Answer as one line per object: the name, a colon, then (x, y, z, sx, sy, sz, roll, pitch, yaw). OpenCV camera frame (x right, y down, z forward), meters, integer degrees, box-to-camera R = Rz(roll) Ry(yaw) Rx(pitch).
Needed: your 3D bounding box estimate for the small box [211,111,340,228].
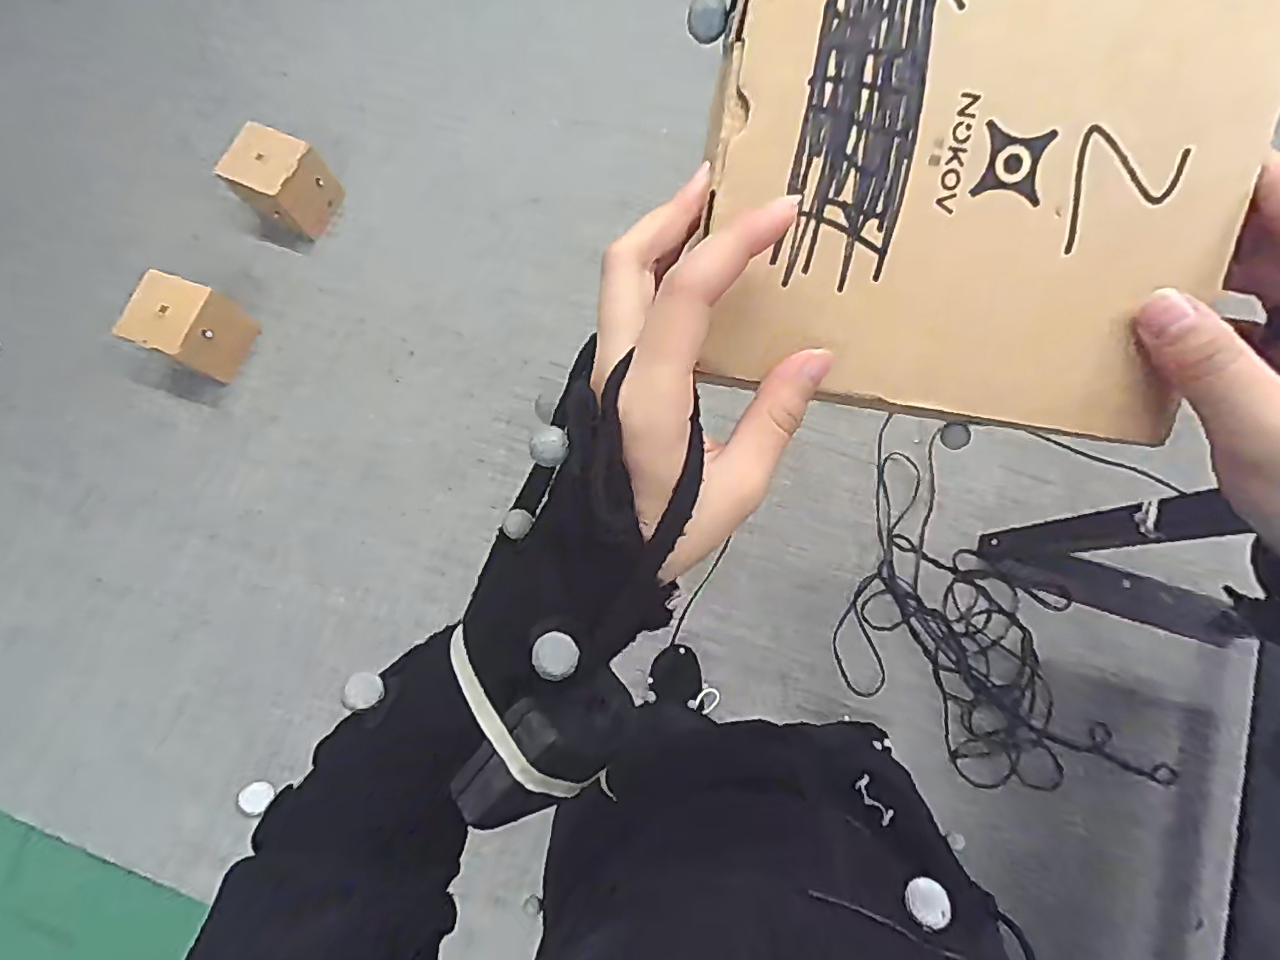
small box: (-0.904, -0.773, 1.364, 0.179, 0.176, 0.168, 23, 78, 6)

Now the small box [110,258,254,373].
small box: (-1.070, -0.383, 1.285, 0.168, 0.176, 0.179, 19, 80, 4)
